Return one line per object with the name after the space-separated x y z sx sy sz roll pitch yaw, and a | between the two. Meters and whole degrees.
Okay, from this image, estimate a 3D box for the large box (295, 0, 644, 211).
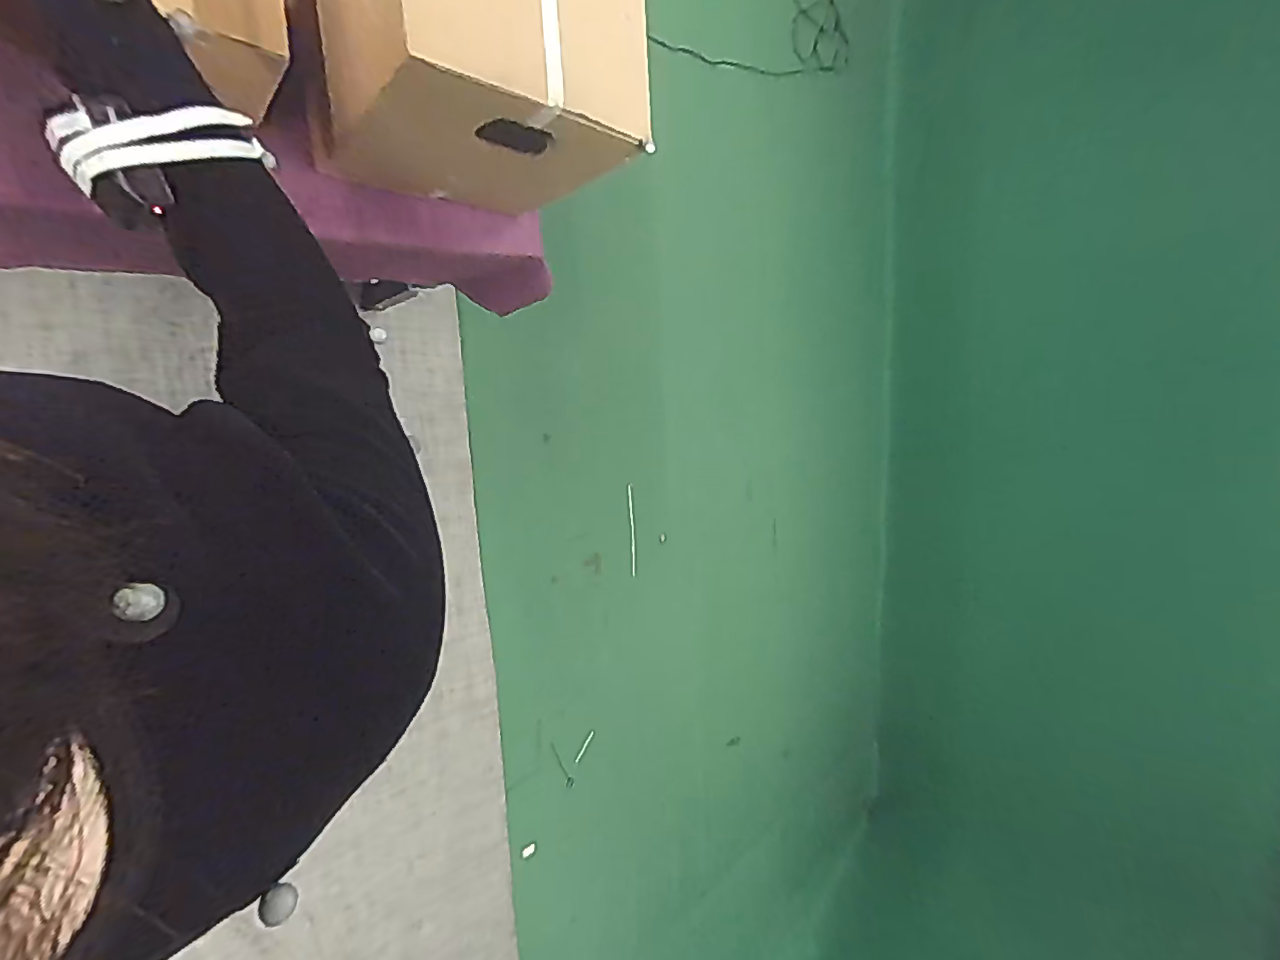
-0.219 -0.611 0.672 0.320 0.320 0.408 -12 103 -44 | large box
